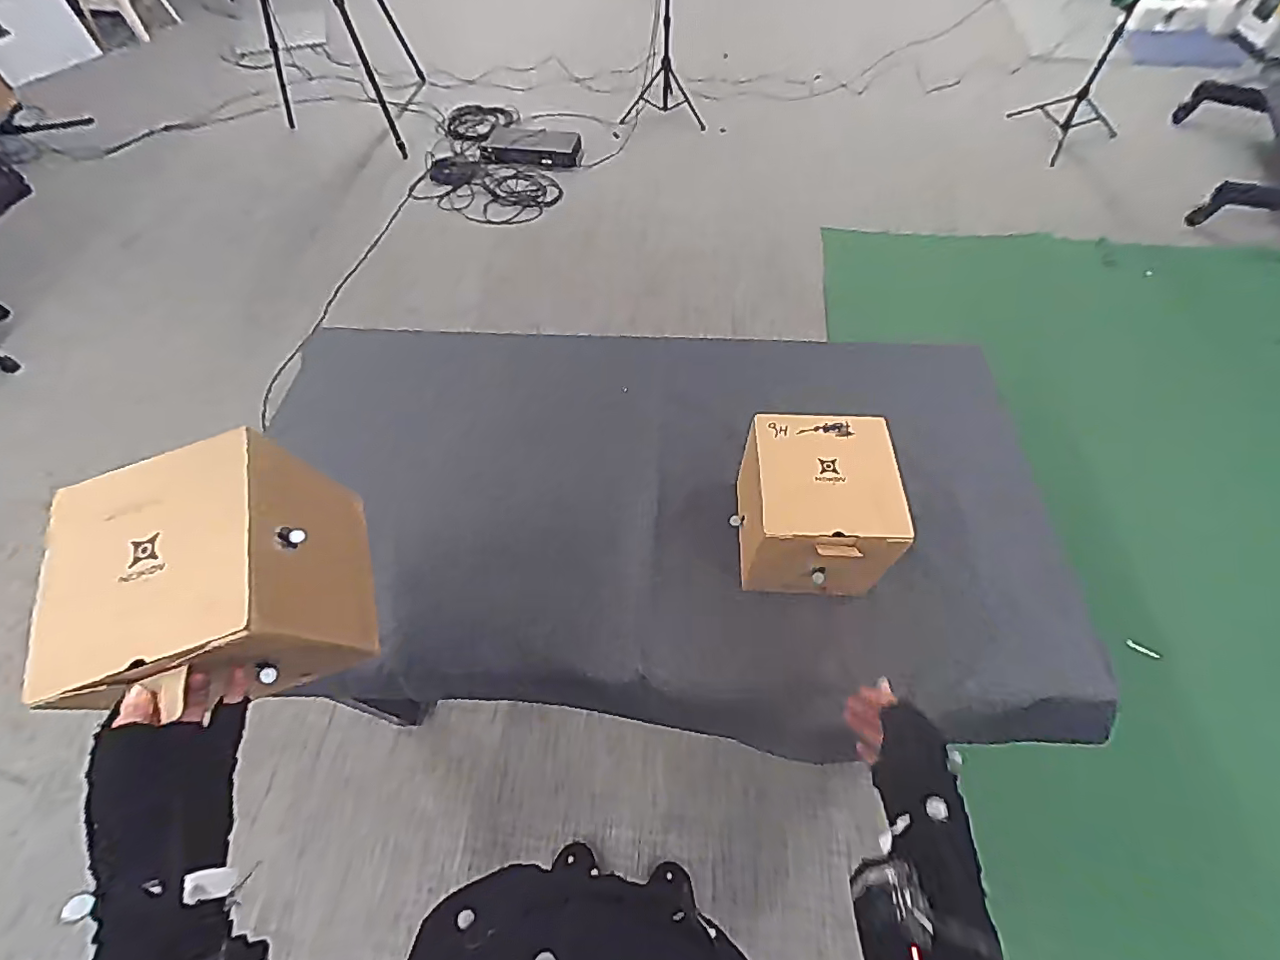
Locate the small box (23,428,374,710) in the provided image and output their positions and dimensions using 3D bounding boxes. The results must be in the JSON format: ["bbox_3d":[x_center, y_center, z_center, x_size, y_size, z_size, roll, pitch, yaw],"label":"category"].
[{"bbox_3d":[-0.358,0.087,0.476,0.168,0.176,0.179,-19,65,-2],"label":"small box"}]
